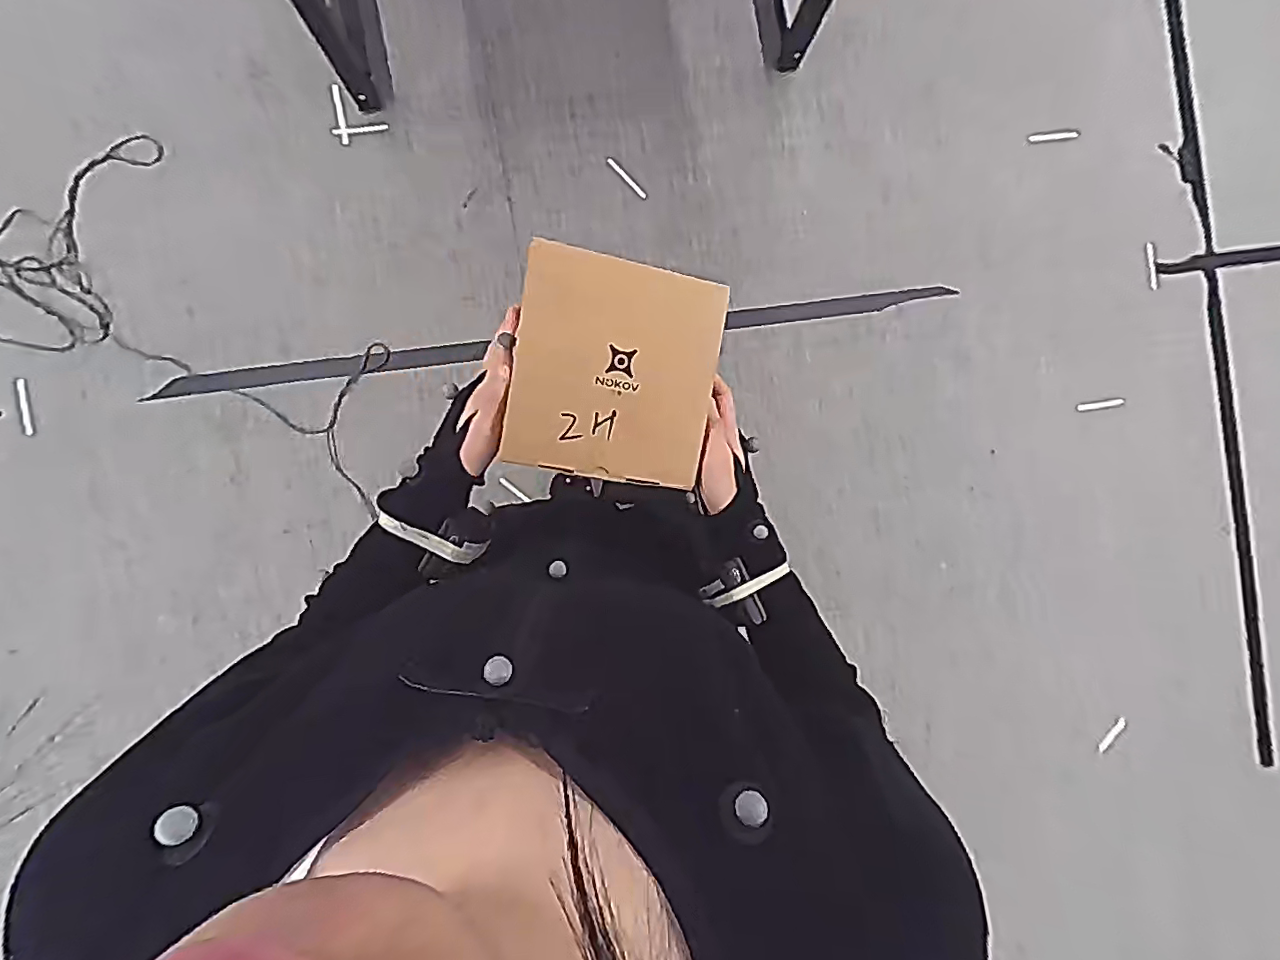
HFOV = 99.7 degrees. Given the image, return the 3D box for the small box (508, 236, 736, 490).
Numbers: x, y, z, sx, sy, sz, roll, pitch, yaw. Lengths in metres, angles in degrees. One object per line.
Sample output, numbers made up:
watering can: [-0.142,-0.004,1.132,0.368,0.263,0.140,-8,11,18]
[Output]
small box: [-0.030,-0.099,0.516,0.168,0.176,0.179,10,94,-13]
